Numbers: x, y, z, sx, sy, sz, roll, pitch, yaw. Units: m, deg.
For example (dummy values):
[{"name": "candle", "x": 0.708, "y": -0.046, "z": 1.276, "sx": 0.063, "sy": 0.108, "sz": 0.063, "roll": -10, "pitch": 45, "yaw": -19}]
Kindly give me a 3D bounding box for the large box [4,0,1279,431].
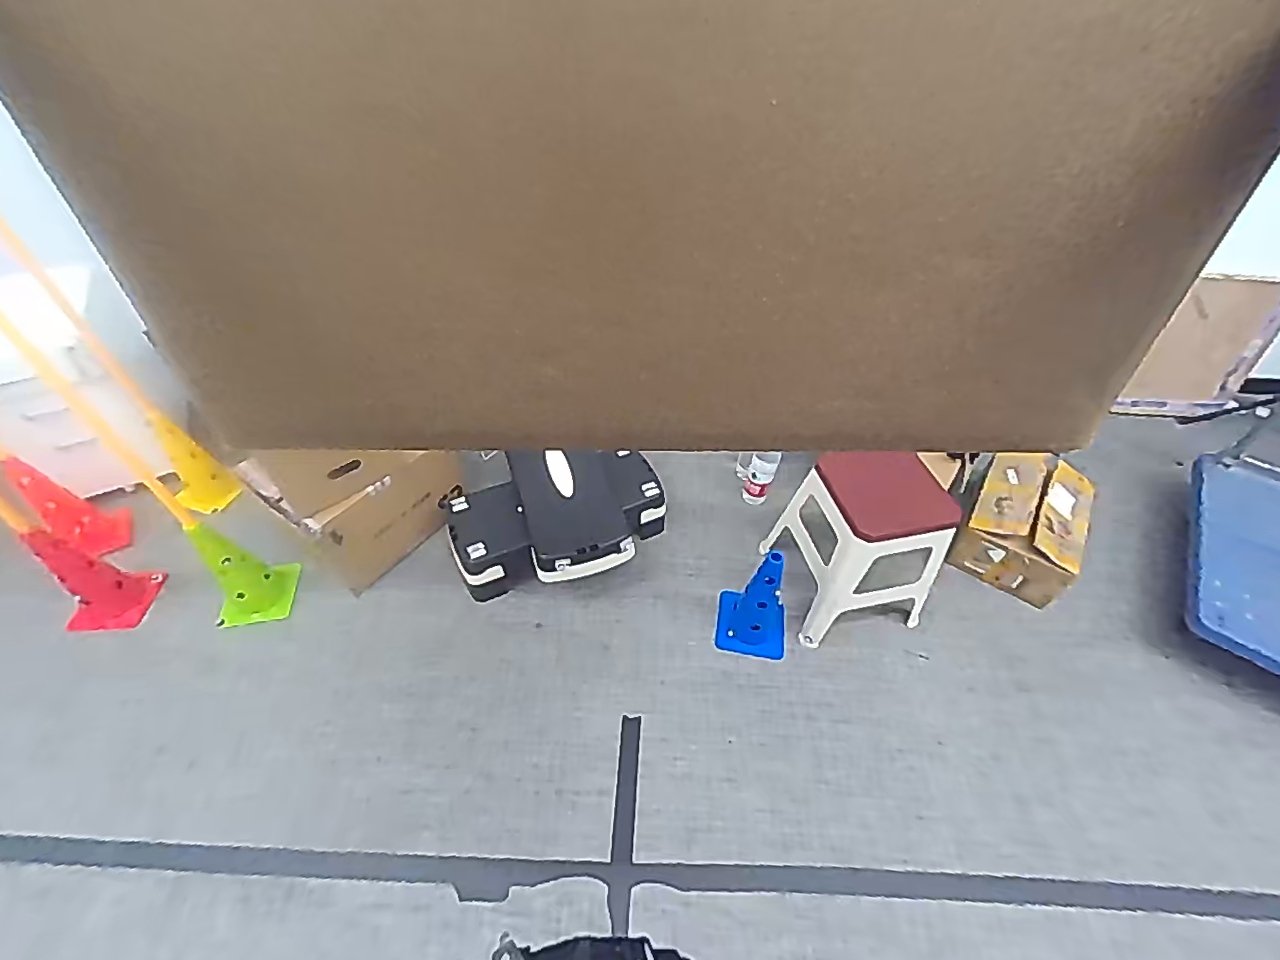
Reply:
[{"name": "large box", "x": 0.006, "y": -0.233, "z": 0.277, "sx": 0.408, "sy": 0.320, "sz": 0.320, "roll": 1, "pitch": 41, "yaw": 0}]
